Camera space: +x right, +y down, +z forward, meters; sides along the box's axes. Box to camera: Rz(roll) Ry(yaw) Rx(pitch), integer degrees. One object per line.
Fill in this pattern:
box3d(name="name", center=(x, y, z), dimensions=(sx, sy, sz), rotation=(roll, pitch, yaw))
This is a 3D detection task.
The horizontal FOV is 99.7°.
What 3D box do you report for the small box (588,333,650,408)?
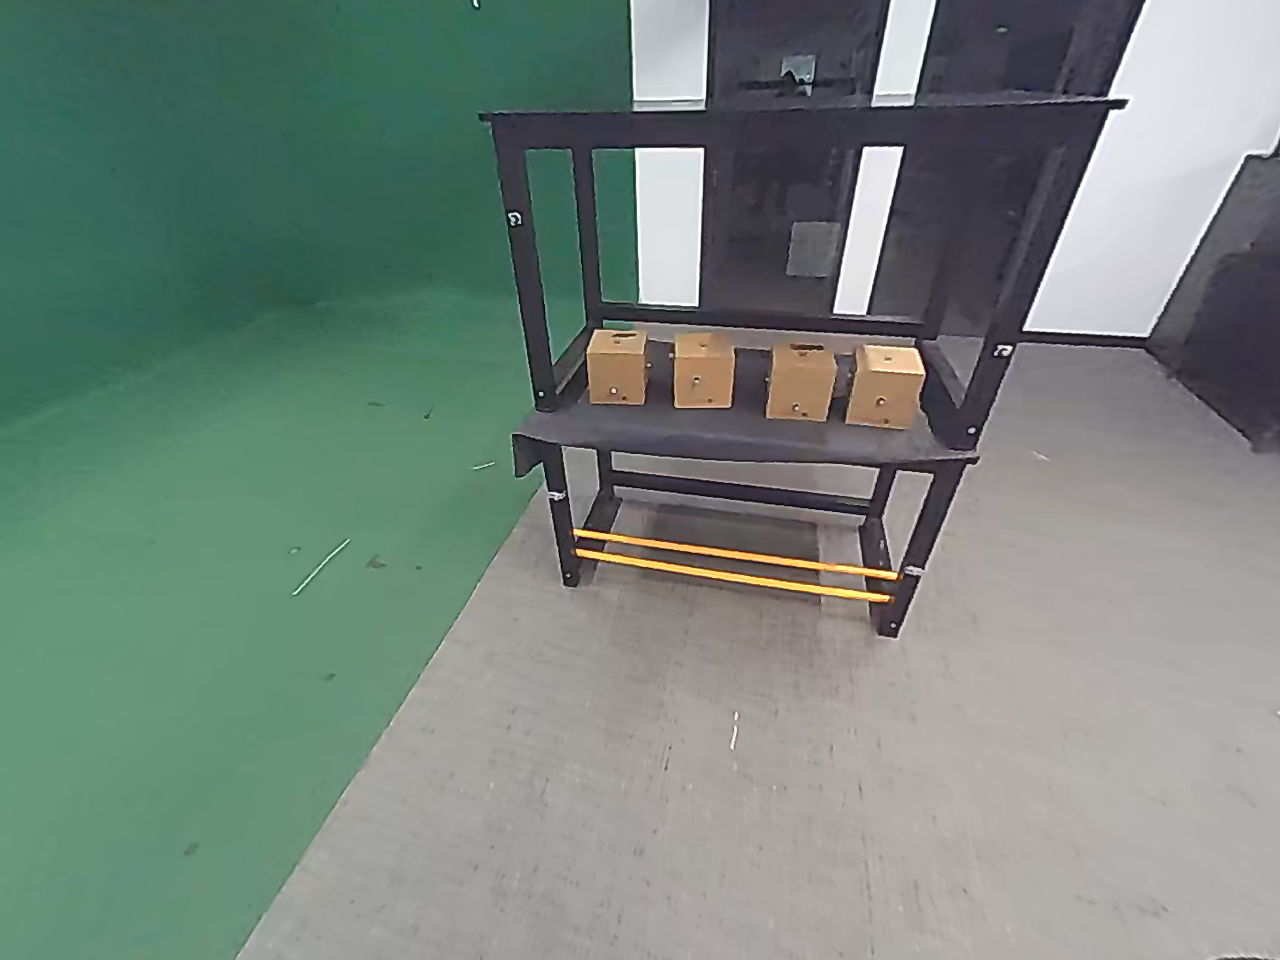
box3d(name="small box", center=(-0.059, -0.337, 1.647), dimensions=(0.168, 0.176, 0.179), rotation=(2, 37, 5))
